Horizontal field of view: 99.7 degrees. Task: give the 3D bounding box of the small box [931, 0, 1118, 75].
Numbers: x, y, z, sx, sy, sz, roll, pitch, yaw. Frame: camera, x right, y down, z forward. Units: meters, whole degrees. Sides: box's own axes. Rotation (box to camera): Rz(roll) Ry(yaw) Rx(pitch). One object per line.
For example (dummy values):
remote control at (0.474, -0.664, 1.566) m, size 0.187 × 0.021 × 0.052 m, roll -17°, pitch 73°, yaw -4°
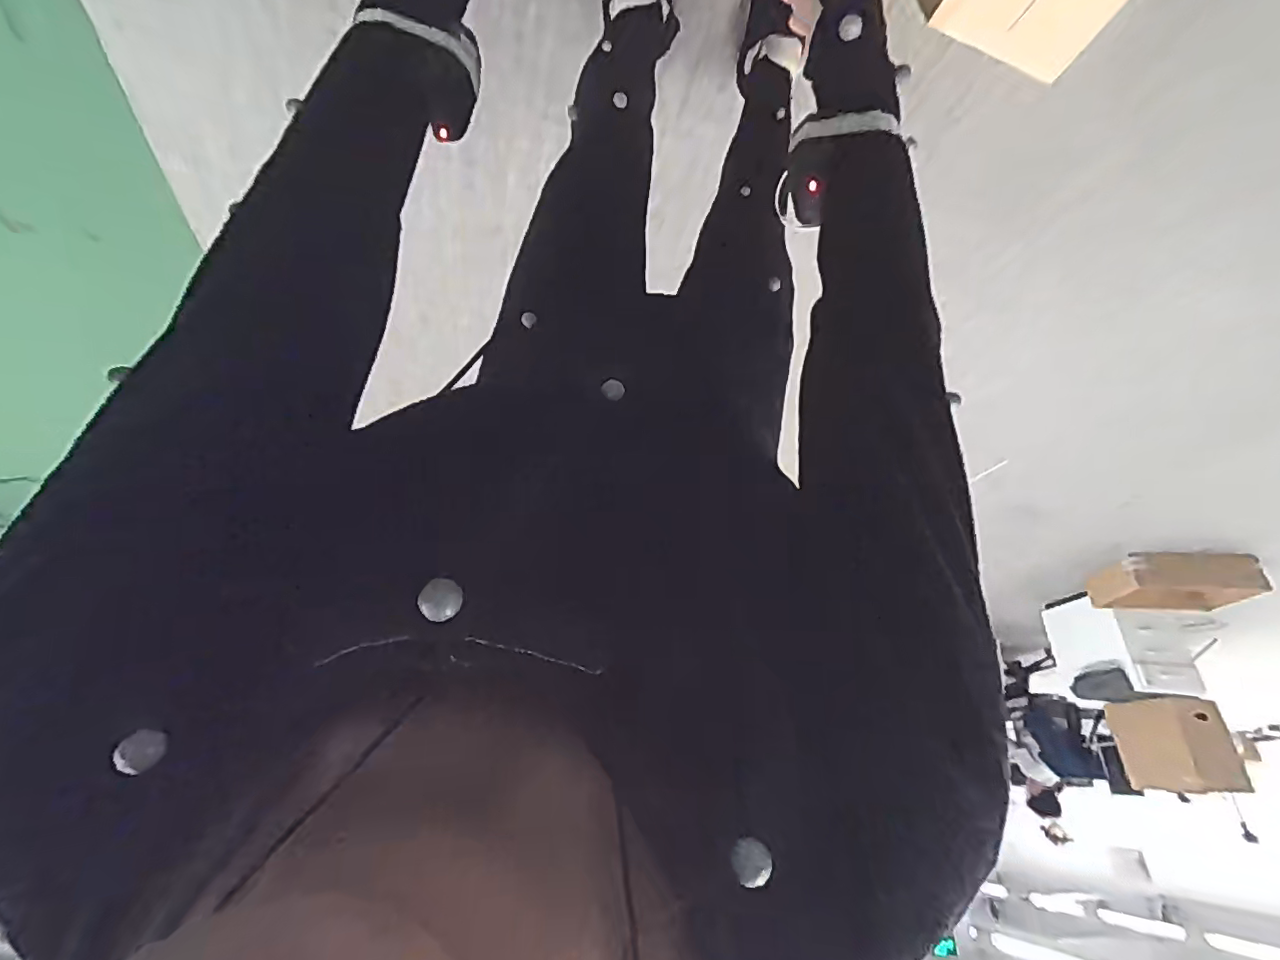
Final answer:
small box at (0.396, -0.561, 0.531) m, size 0.168 × 0.176 × 0.179 m, roll 12°, pitch 150°, yaw -14°
